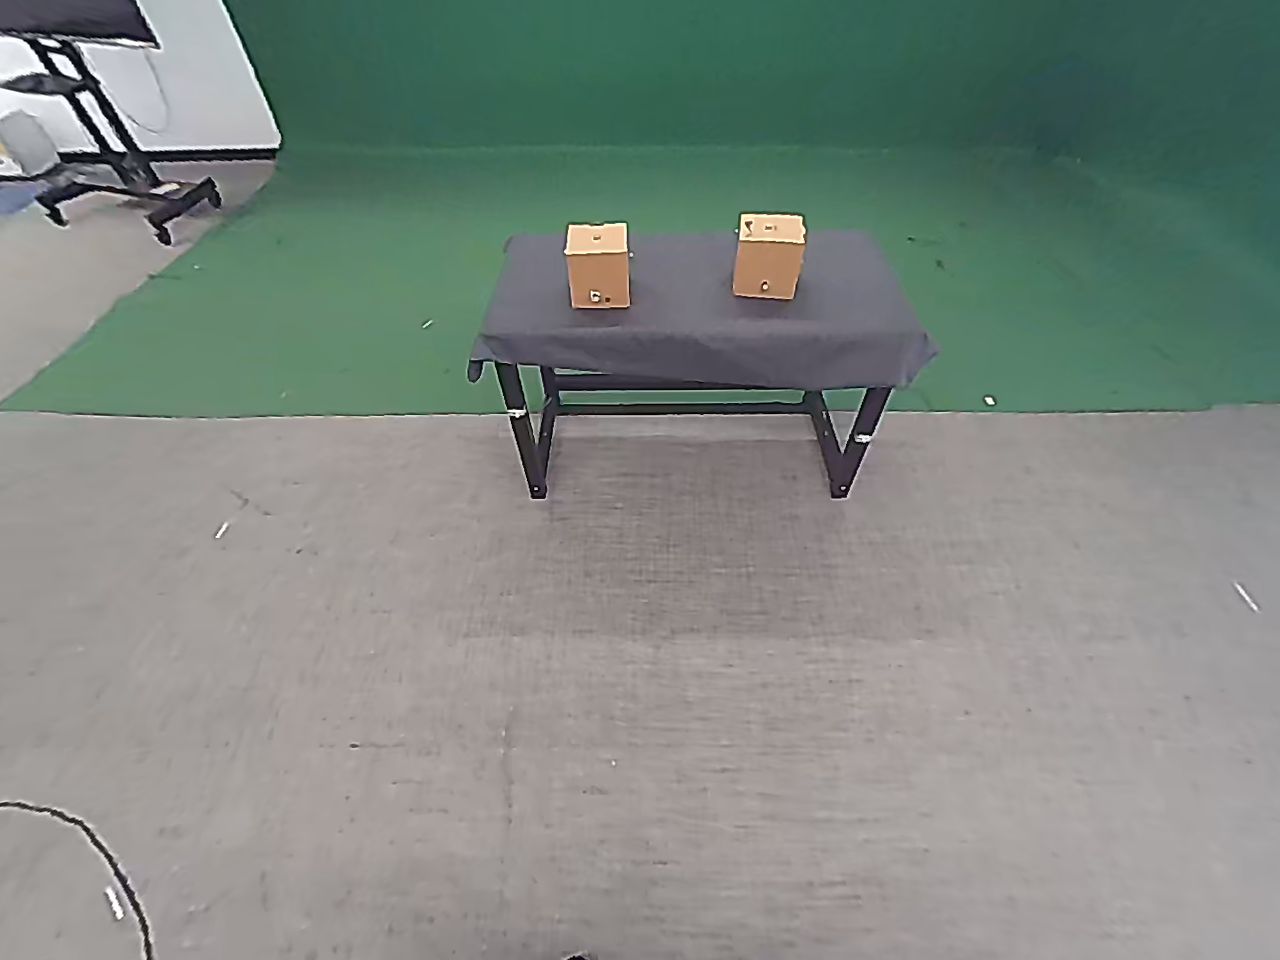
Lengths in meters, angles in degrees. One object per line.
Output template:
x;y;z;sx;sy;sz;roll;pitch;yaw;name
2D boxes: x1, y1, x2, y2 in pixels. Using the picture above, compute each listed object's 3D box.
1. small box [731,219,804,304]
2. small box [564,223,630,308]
0.366;-0.629;1.563;0.179;0.176;0.168;7;49;6;small box
-0.116;-0.606;1.530;0.168;0.176;0.179;-2;49;2;small box
